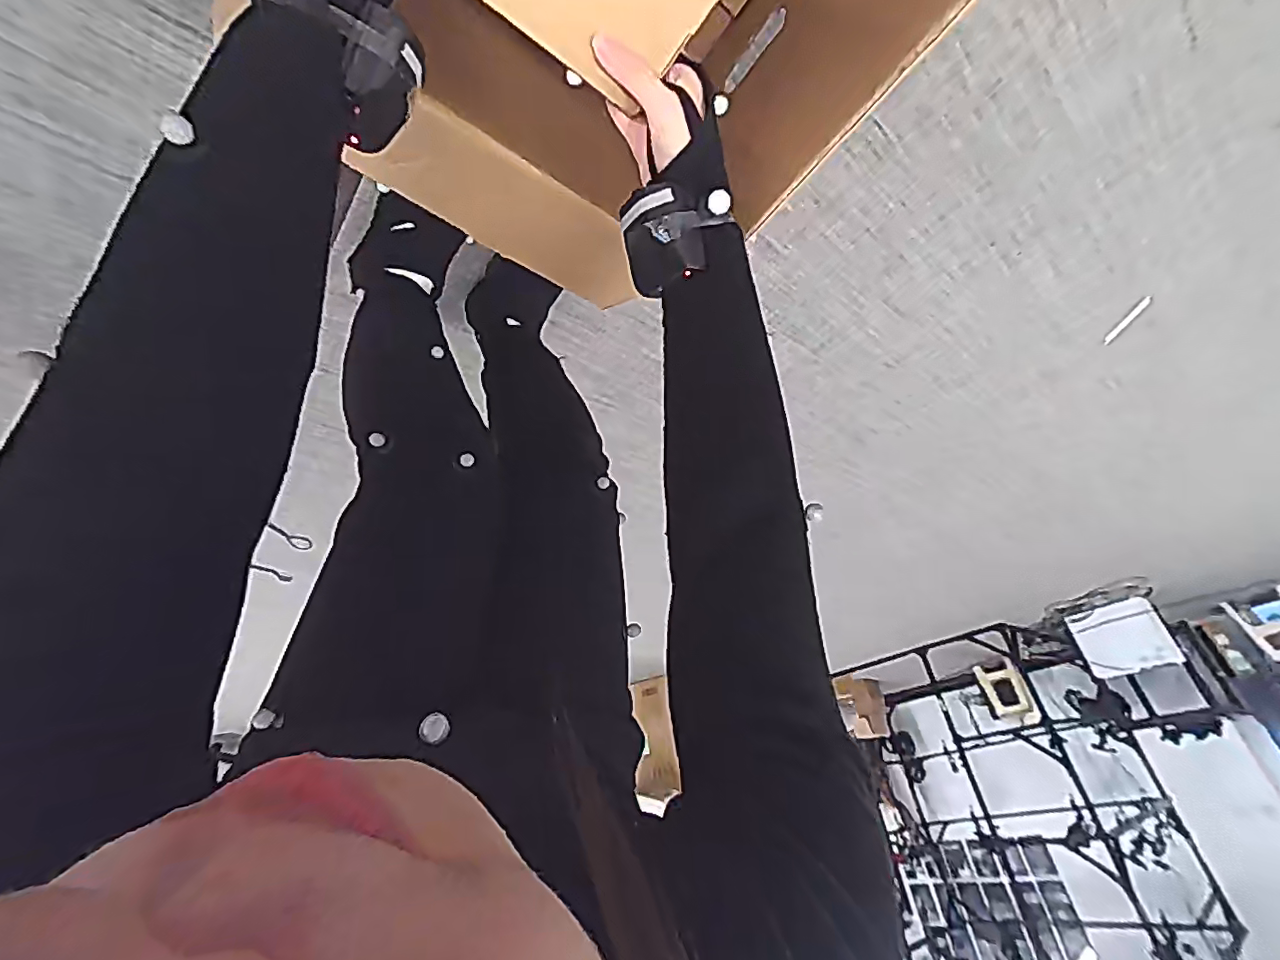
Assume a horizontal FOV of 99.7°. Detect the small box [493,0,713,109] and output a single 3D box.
[{"bbox_3d":[-0.037,-0.380,0.314,0.179,0.176,0.168,9,144,-42],"label":"small box"}]
